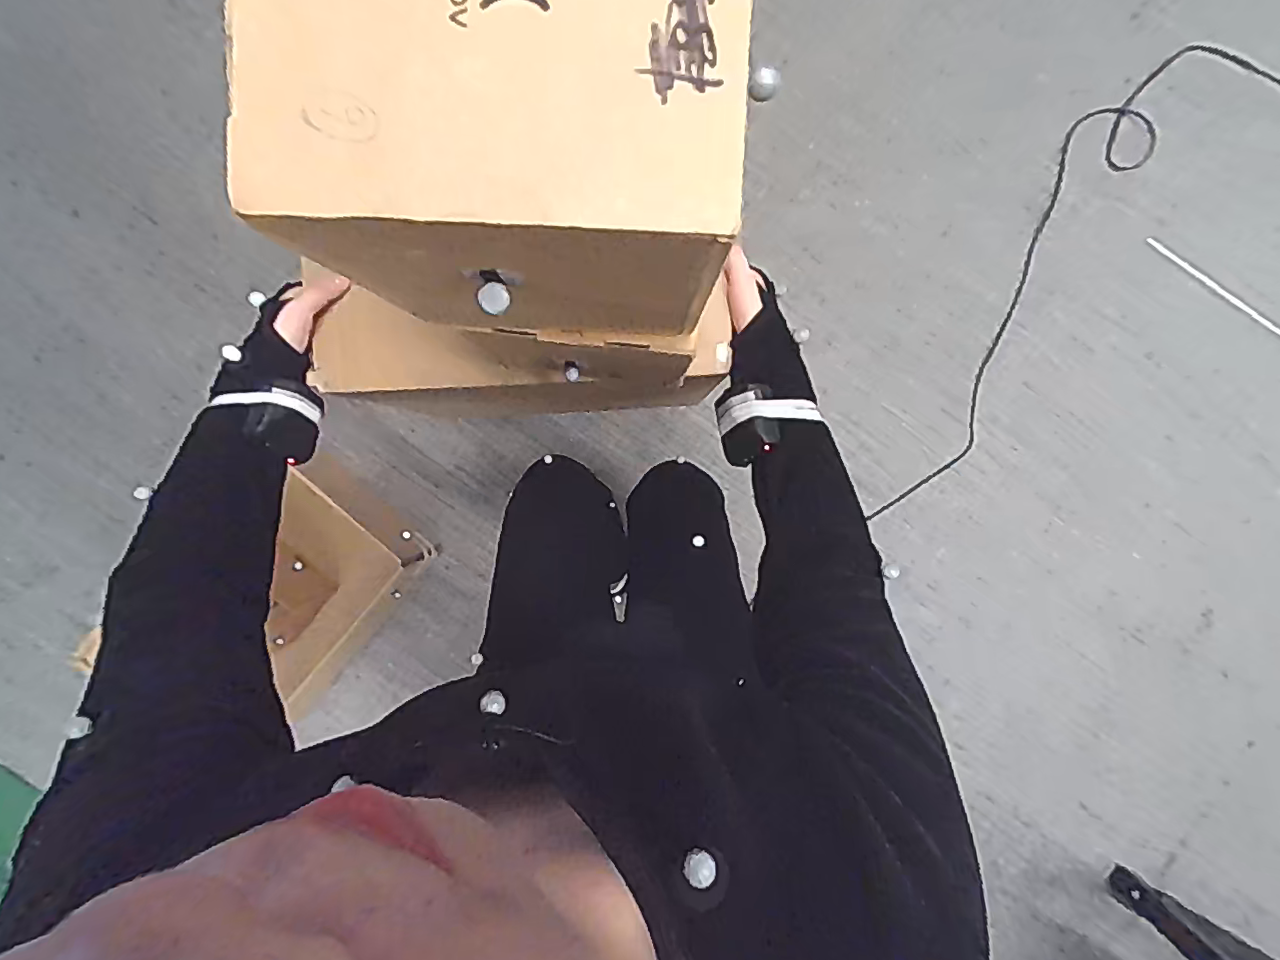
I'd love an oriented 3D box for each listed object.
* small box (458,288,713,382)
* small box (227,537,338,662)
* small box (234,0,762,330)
[{"bbox_3d":[-0.029,-0.181,0.419,0.168,0.176,0.179,7,95,0],"label":"small box"},{"bbox_3d":[-0.787,0.246,1.144,0.168,0.176,0.179,41,96,-3],"label":"small box"},{"bbox_3d":[-0.044,-0.171,0.255,0.179,0.176,0.168,3,95,1],"label":"small box"}]
